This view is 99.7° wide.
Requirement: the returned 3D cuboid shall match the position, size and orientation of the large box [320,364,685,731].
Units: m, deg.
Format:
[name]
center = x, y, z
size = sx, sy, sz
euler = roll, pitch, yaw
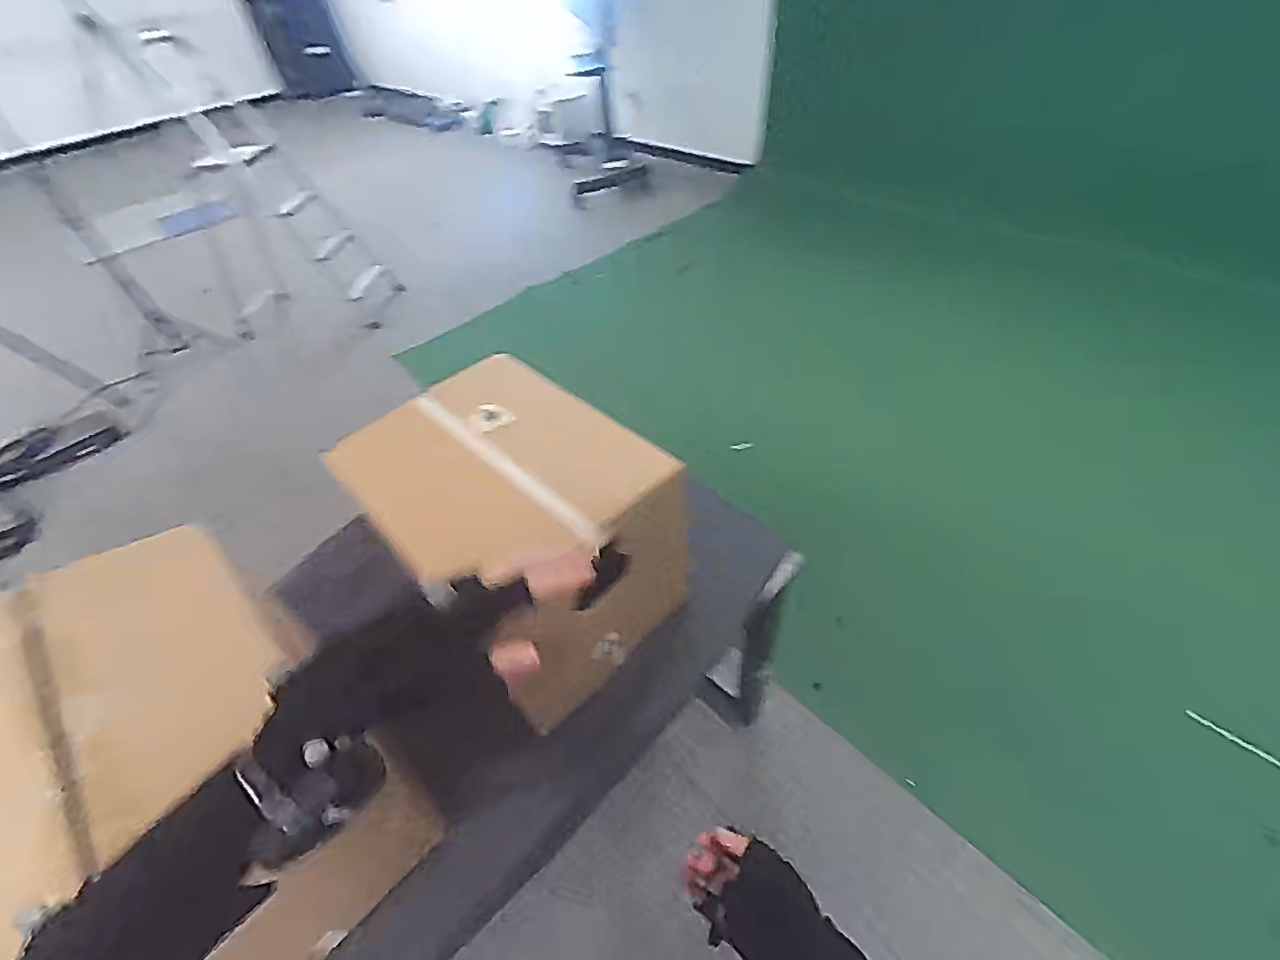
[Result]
[large box]
center = -0.184, 0.084, 0.821
size = 0.408, 0.320, 0.320
euler = 32, 58, 33
